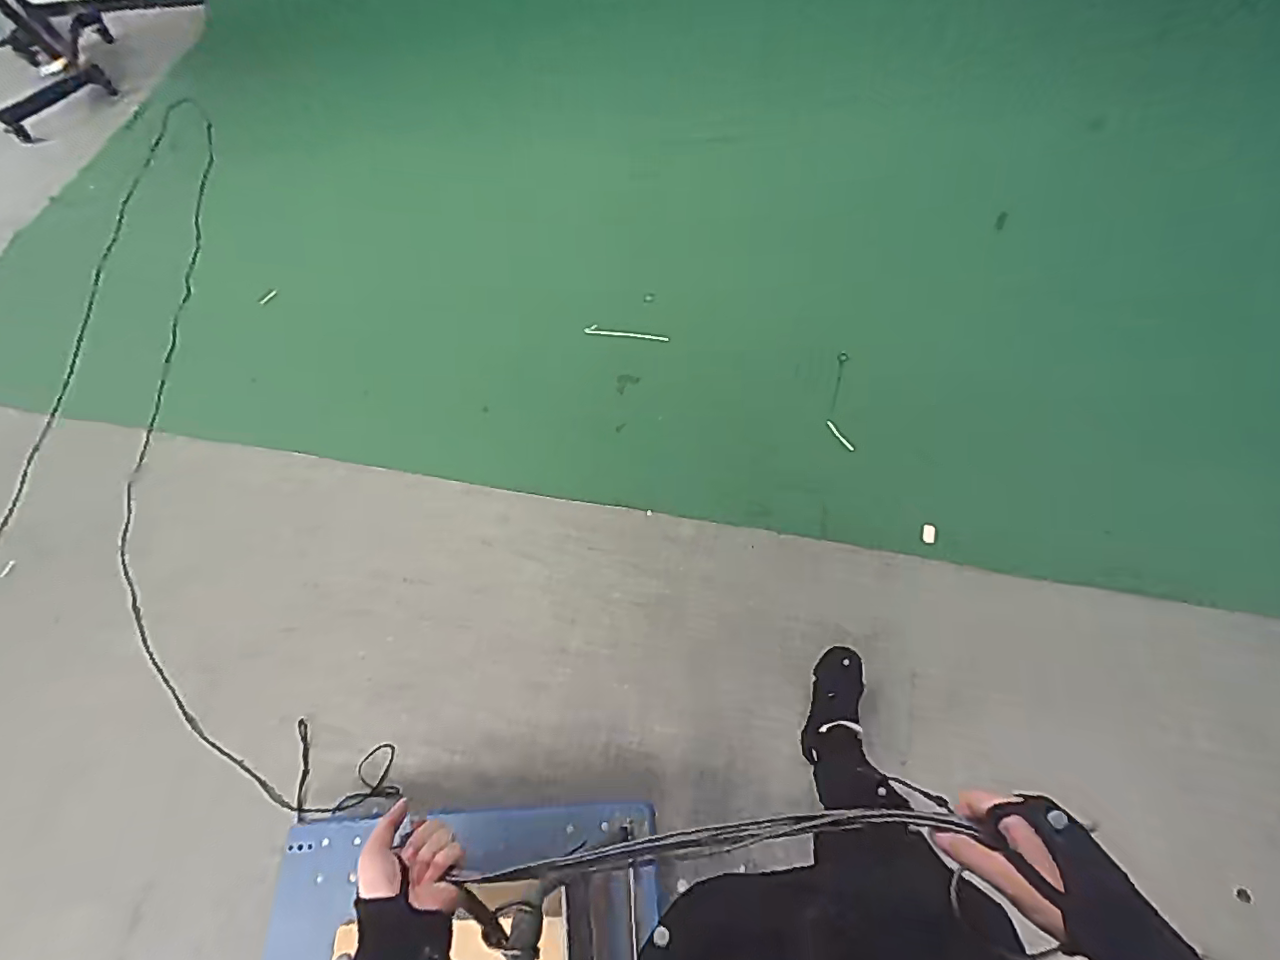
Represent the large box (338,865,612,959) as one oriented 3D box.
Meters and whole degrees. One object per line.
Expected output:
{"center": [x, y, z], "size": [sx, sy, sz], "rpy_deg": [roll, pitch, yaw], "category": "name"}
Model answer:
{"center": [-0.269, 0.916, 0.959], "size": [0.408, 0.320, 0.320], "rpy_deg": [-8, 64, 7], "category": "large box"}
